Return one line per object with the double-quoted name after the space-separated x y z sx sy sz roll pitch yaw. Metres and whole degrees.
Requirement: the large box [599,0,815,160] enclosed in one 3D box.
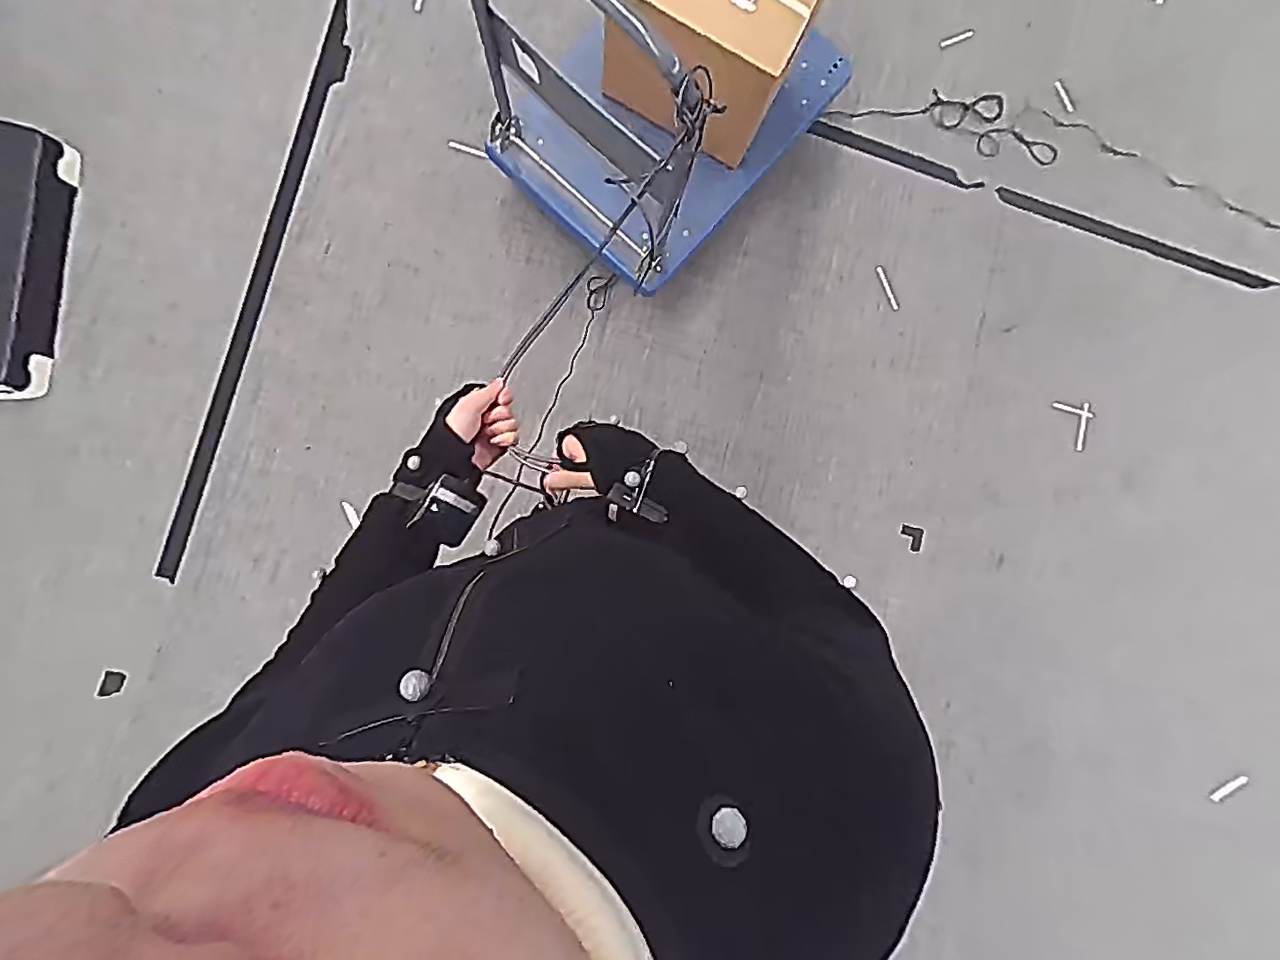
0.151 -1.054 1.258 0.408 0.320 0.320 27 85 -5 "large box"
